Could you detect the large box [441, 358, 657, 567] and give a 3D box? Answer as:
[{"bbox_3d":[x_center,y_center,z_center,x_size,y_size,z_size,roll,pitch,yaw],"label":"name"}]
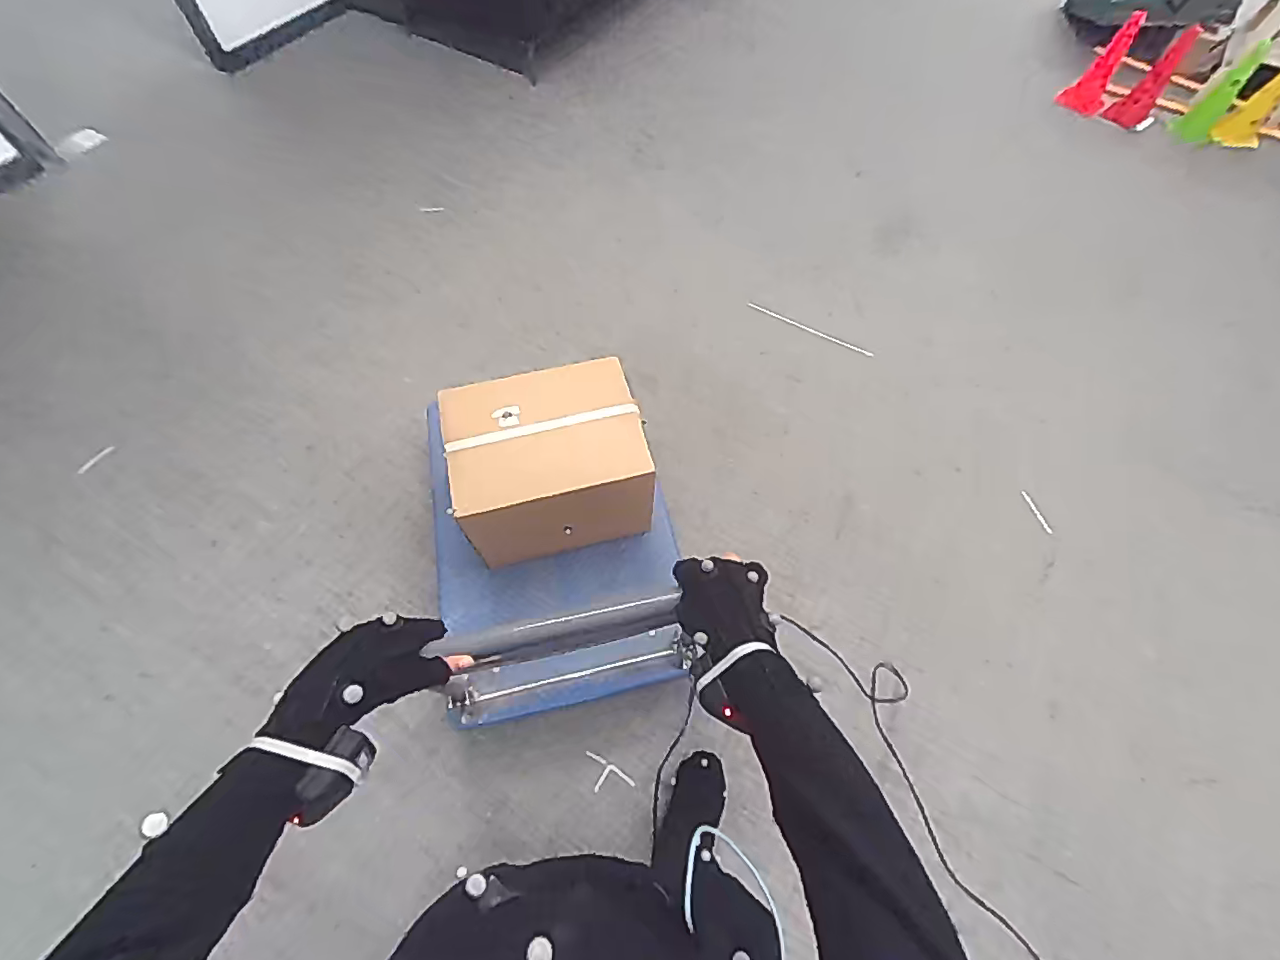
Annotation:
[{"bbox_3d":[-0.199,-0.031,1.261,0.408,0.320,0.320,-14,63,-8],"label":"large box"}]
